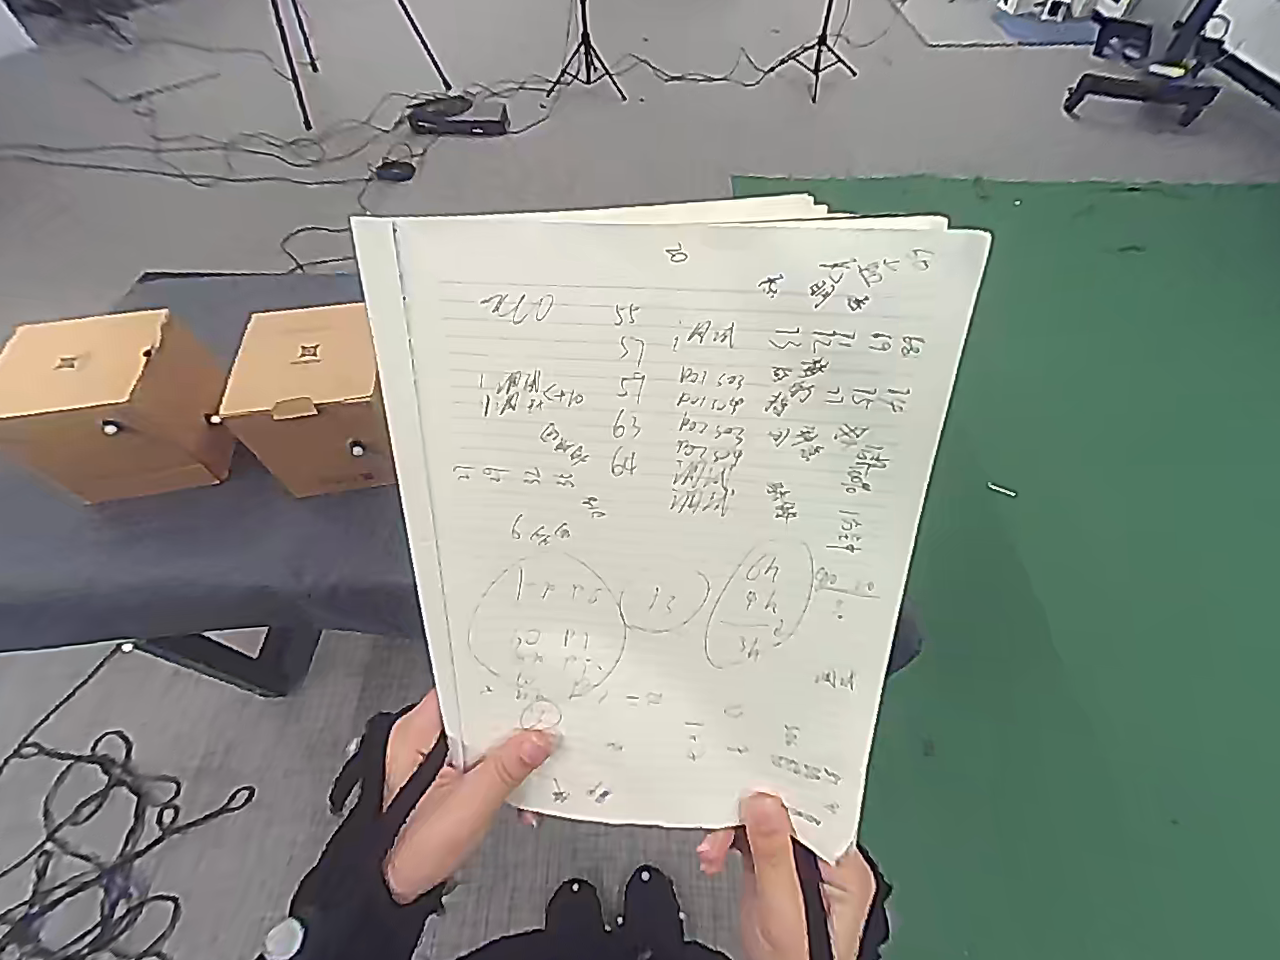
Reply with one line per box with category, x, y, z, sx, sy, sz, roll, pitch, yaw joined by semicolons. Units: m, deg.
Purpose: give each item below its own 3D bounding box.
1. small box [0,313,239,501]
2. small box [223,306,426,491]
small box;-0.664;-0.089;0.704;0.179;0.176;0.168;-9;55;-8
small box;-0.391;-0.099;0.711;0.168;0.176;0.179;-8;54;-7
